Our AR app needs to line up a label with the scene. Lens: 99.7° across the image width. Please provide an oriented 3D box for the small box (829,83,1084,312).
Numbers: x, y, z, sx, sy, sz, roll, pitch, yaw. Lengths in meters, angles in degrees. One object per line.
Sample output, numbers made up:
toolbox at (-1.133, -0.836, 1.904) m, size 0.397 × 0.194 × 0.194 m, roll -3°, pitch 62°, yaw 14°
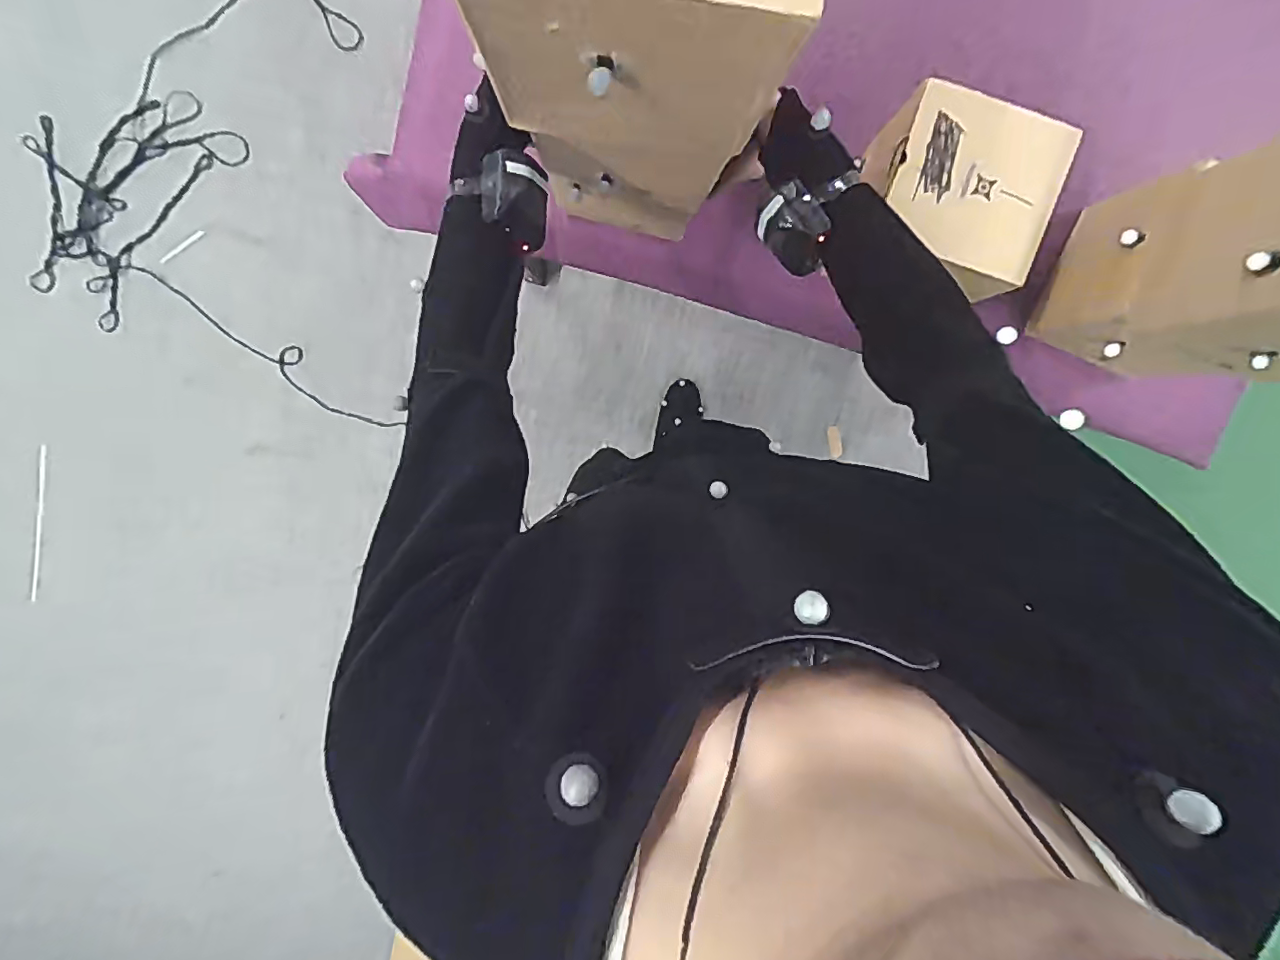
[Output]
small box at (0.352, -0.314, 0.642) m, size 0.179 × 0.176 × 0.168 m, roll 18°, pitch 97°, yaw -3°

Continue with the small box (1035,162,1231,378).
small box at (0.631, -0.232, 0.652) m, size 0.168 × 0.176 × 0.179 m, roll 22°, pitch 98°, yaw -2°

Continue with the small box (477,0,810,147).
small box at (0.002, -0.317, 0.308) m, size 0.179 × 0.176 × 0.168 m, roll 5°, pitch 101°, yaw -2°

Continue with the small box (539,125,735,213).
small box at (0.005, -0.360, 0.466) m, size 0.168 × 0.176 × 0.179 m, roll 12°, pitch 101°, yaw -5°

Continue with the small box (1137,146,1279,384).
small box at (0.621, -0.194, 0.491) m, size 0.168 × 0.176 × 0.179 m, roll 19°, pitch 98°, yaw -2°
